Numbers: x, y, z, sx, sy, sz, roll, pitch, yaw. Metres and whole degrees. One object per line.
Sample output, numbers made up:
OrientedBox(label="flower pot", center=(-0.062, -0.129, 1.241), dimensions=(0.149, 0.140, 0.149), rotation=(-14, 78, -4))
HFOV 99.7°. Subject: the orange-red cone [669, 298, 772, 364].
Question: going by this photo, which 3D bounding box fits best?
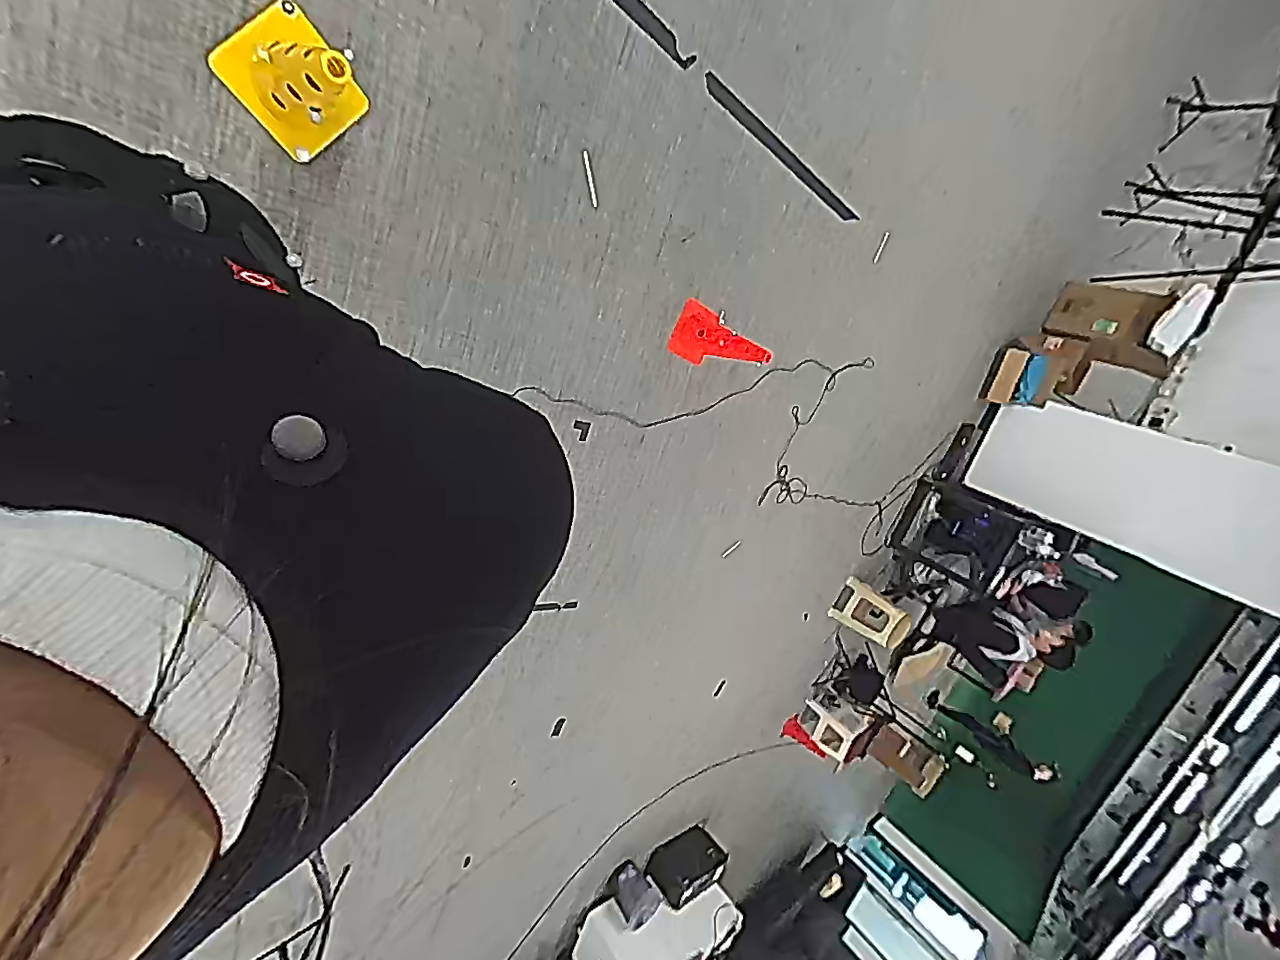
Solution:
OrientedBox(label="orange-red cone", center=(0.304, -0.475, 1.862), dimensions=(0.199, 0.360, 0.198), rotation=(16, 102, -45))
